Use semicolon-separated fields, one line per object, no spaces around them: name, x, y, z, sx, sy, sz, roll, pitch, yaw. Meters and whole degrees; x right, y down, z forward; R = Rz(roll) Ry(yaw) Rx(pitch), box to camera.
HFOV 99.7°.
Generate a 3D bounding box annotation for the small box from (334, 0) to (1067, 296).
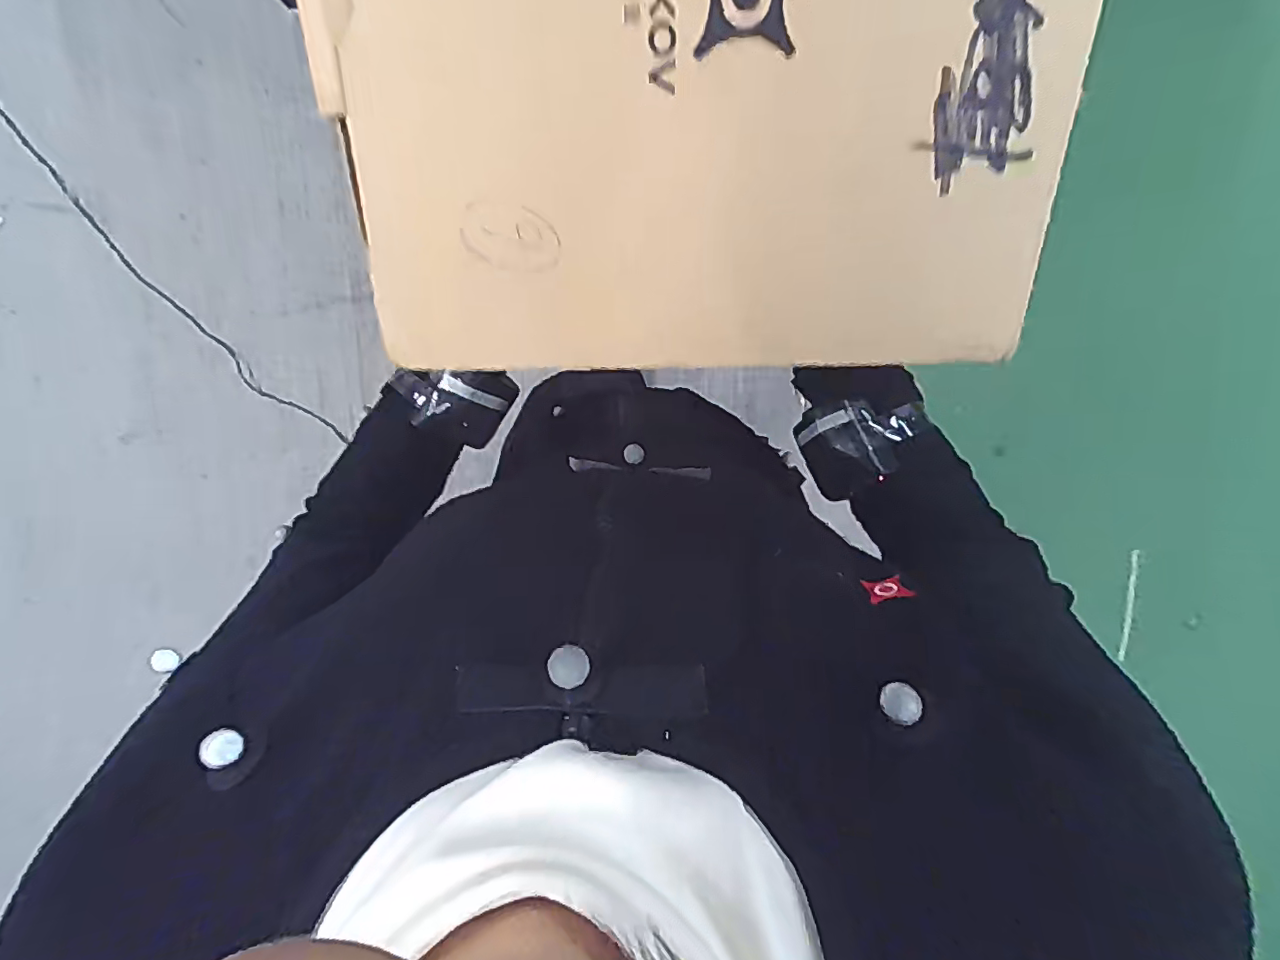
small box;0.014;-0.157;0.196;0.179;0.176;0.168;-3;111;1
